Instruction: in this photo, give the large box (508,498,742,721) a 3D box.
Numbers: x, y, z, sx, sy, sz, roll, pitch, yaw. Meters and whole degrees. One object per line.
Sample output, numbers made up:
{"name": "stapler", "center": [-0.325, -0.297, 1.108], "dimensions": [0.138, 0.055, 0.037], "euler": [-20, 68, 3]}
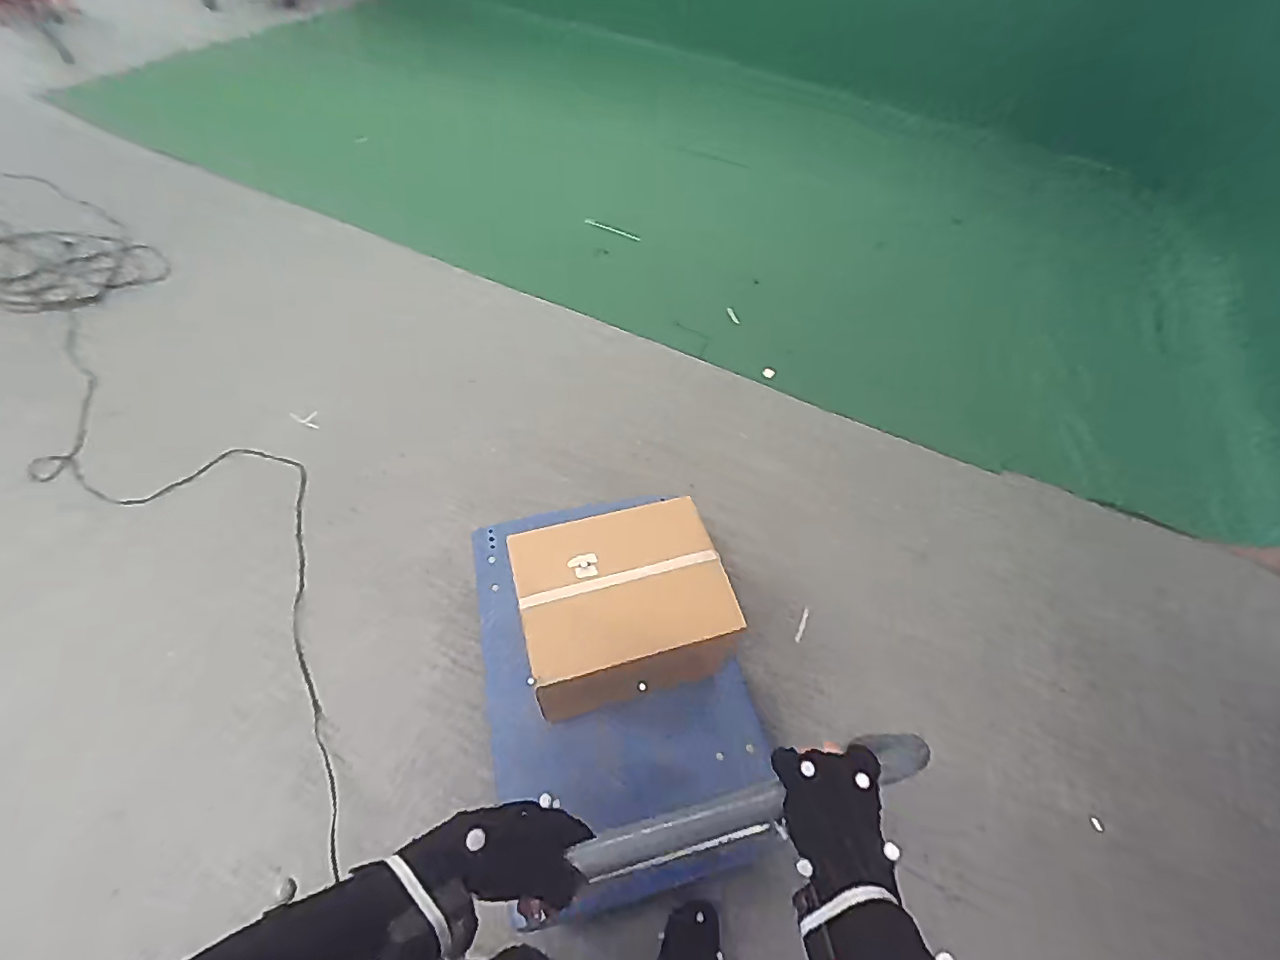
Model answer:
{"name": "large box", "center": [-0.045, 0.286, 1.185], "dimensions": [0.408, 0.320, 0.320], "euler": [-13, 56, -13]}
